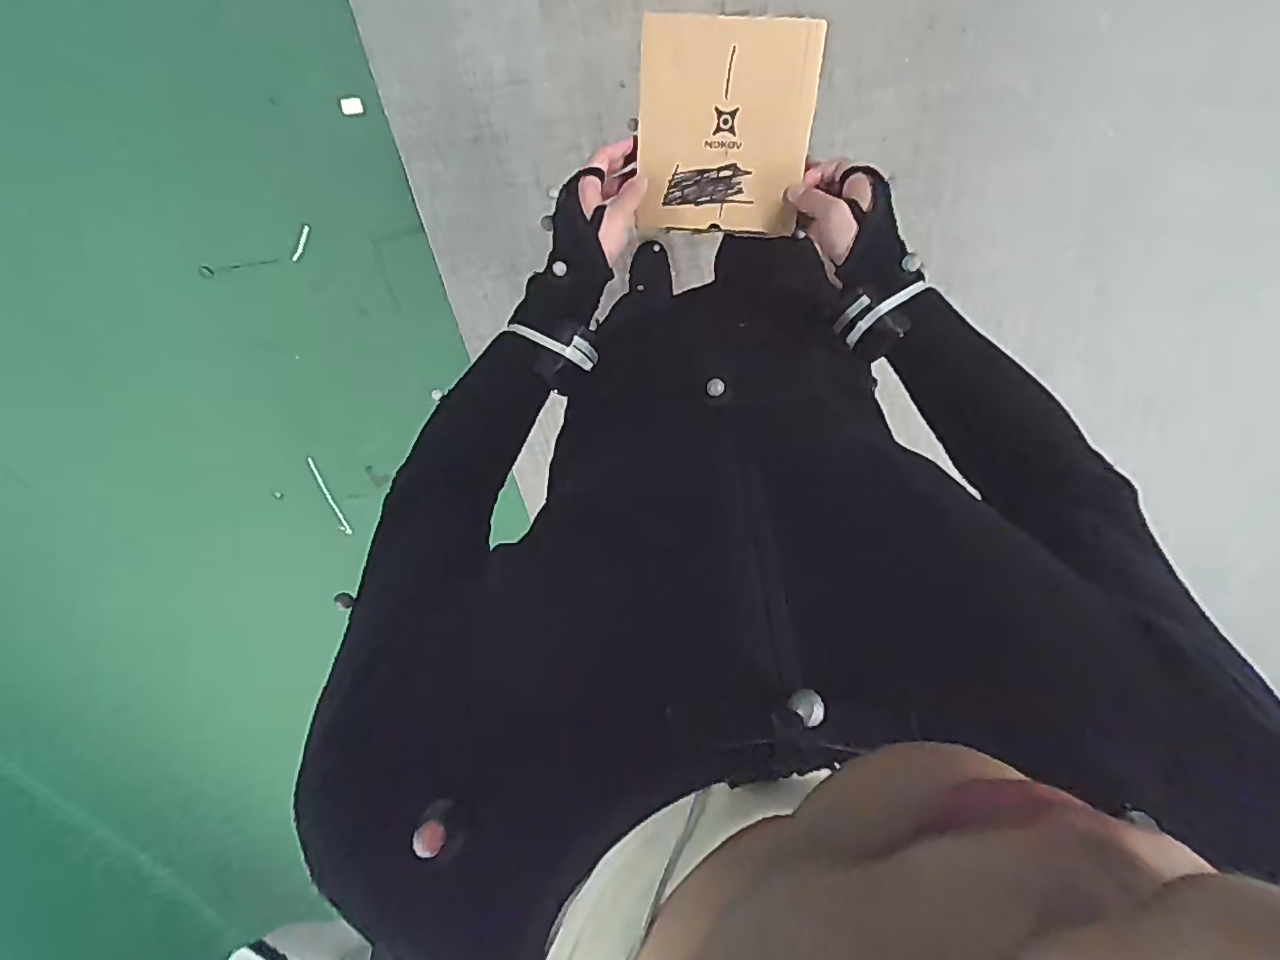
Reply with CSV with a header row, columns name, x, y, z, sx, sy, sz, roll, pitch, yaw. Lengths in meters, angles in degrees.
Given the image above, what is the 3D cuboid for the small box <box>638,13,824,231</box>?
name,x,y,z,sx,sy,sz,roll,pitch,yaw
small box,0.087,-0.383,0.602,0.168,0.176,0.179,3,118,1
